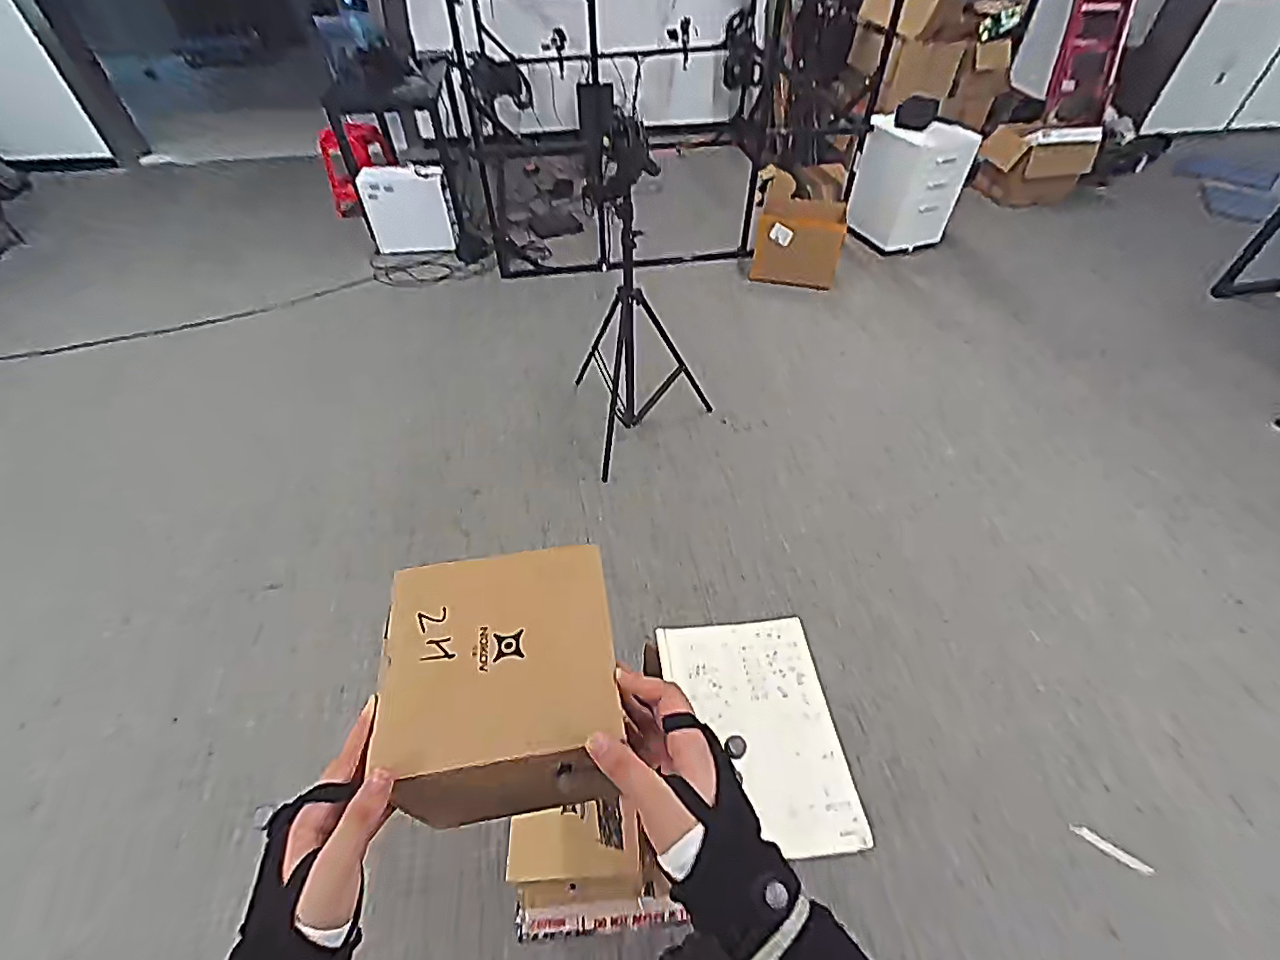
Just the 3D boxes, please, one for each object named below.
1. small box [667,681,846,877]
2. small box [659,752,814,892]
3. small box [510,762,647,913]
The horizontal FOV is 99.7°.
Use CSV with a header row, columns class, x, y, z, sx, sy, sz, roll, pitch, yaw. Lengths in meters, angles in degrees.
class,x,y,z,sx,sy,sz,roll,pitch,yaw
small box,0.134,0.390,0.707,0.168,0.176,0.179,-6,48,-8
small box,0.133,0.504,0.823,0.179,0.176,0.168,-7,49,-9
small box,-0.081,0.529,0.798,0.179,0.176,0.168,-3,49,-1
